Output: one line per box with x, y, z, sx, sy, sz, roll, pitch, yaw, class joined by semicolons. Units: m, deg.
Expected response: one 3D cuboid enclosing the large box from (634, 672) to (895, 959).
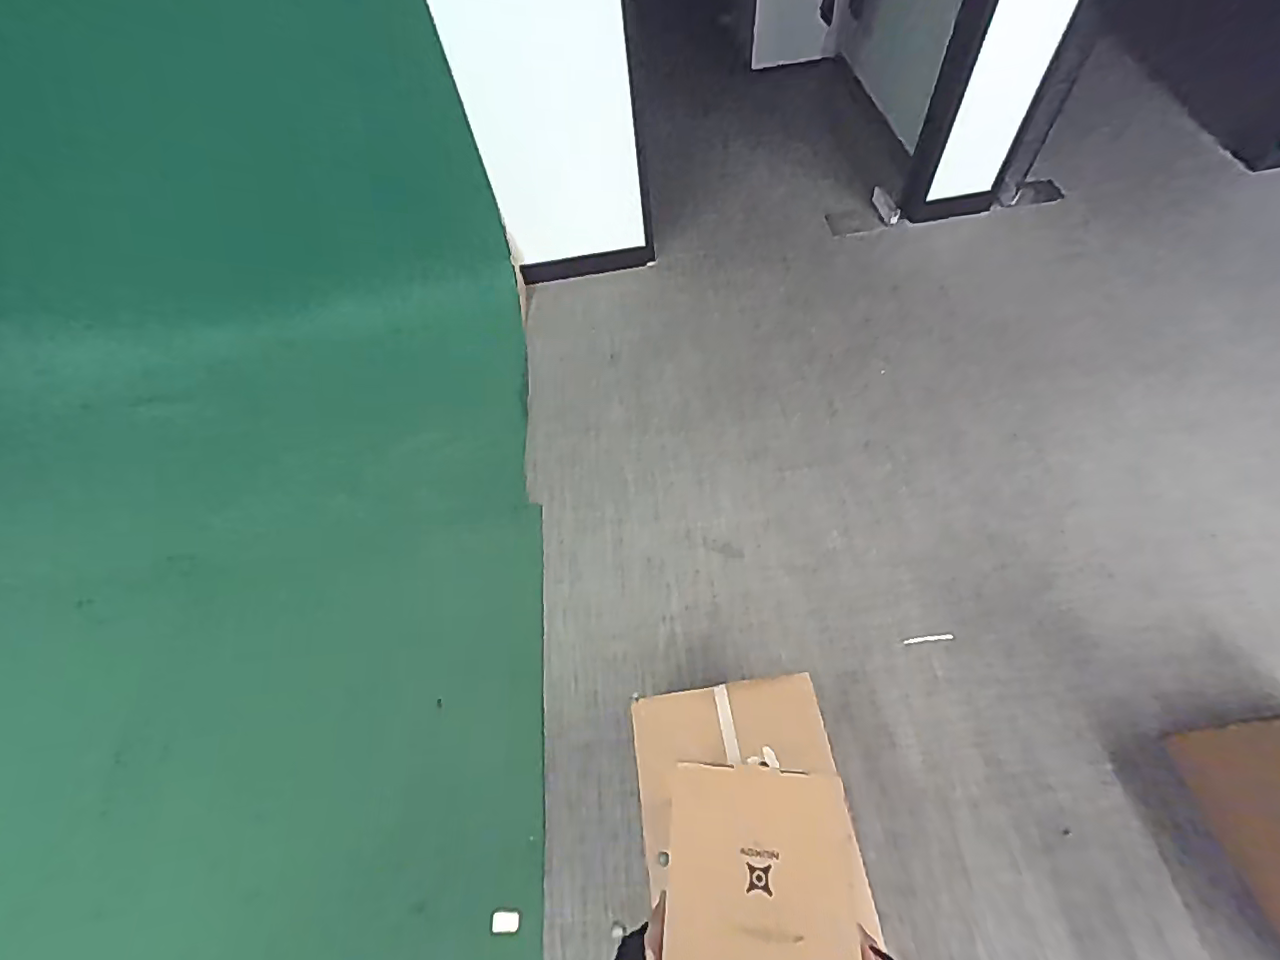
0.187;0.598;0.950;0.320;0.320;0.408;-10;57;2;large box

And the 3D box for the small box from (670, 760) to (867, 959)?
0.124;0.408;0.552;0.168;0.176;0.179;0;52;11;small box
